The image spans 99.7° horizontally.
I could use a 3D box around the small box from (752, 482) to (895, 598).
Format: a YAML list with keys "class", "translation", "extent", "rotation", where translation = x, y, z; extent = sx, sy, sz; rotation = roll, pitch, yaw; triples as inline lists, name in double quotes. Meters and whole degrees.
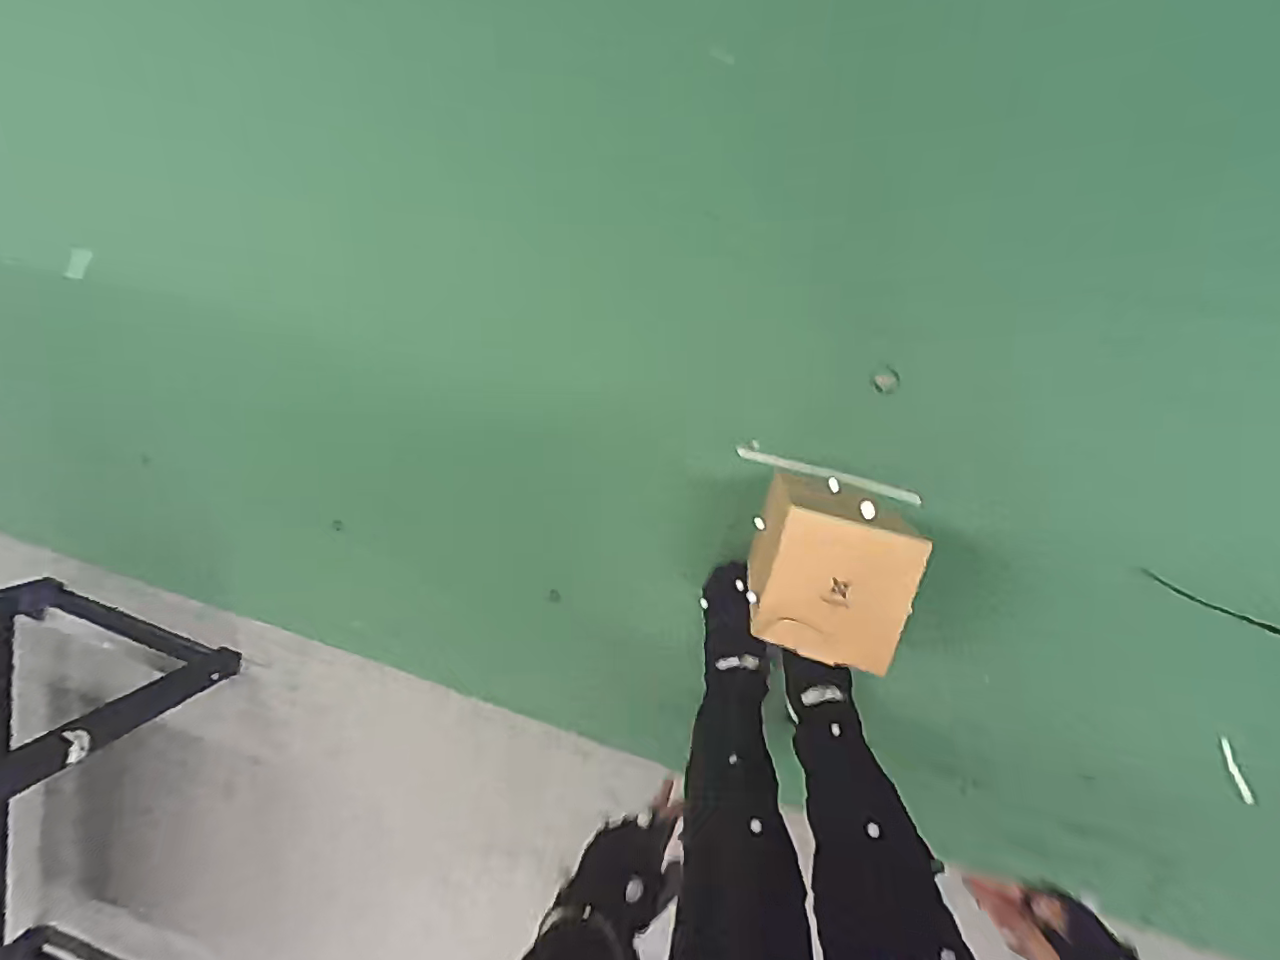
- class: "small box"
  translation: [0.283, 0.111, 0.880]
  extent: [0.168, 0.176, 0.179]
  rotation: [18, 100, 9]

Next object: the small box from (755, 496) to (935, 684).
- class: "small box"
  translation: [0.255, 0.131, 0.722]
  extent: [0.168, 0.176, 0.179]
  rotation: [16, 100, 8]
